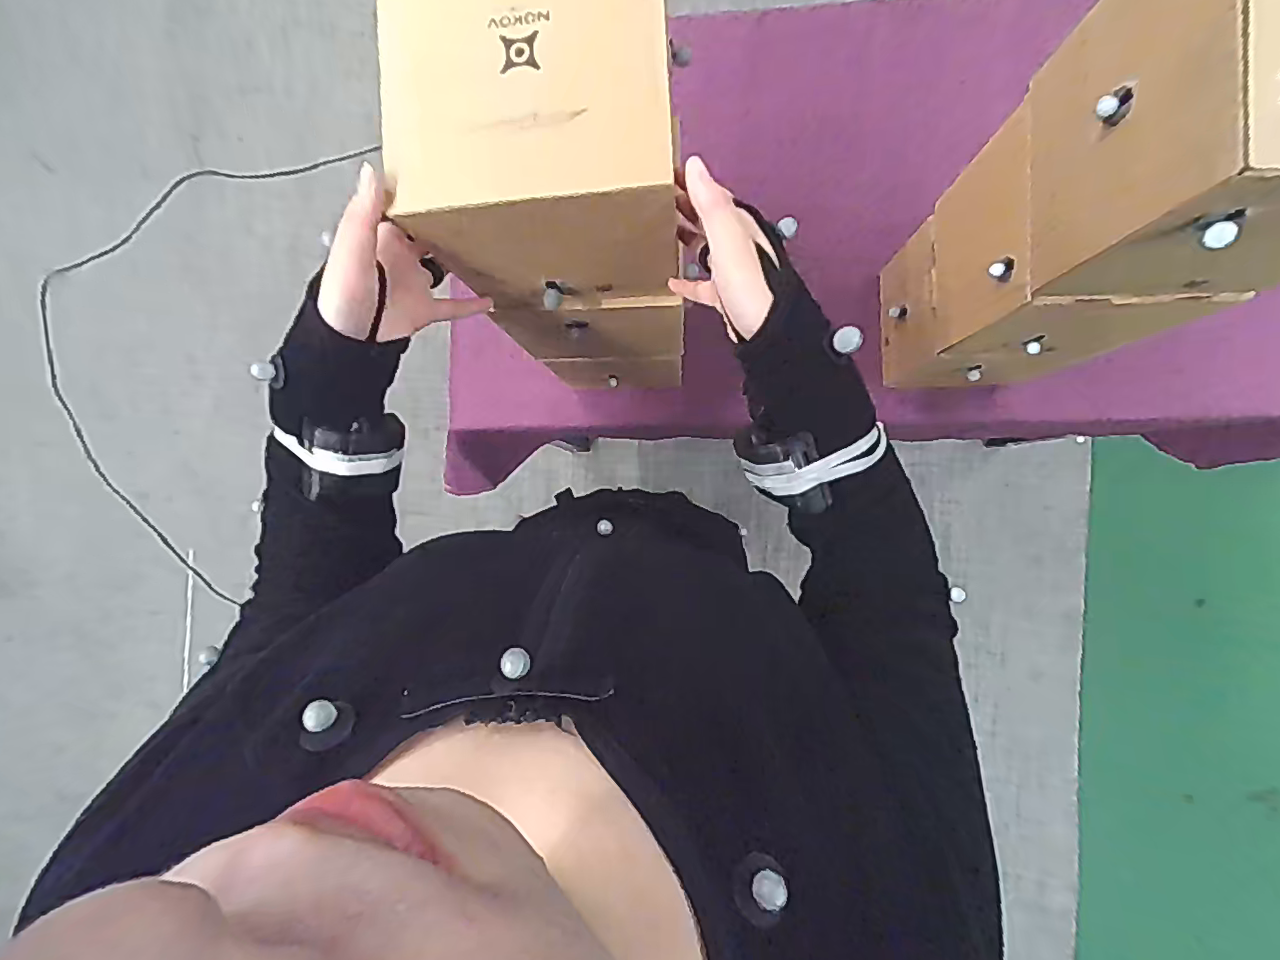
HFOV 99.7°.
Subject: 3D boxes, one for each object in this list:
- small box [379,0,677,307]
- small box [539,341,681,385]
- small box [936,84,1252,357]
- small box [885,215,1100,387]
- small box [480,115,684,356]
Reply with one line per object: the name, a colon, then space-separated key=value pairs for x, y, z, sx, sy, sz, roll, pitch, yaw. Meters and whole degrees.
small box: x=-0.059 y=-0.240 z=0.382 sx=0.168 sy=0.176 sz=0.179 roll=-2 pitch=90 yaw=6
small box: x=-0.030 y=-0.222 z=0.707 sx=0.168 sy=0.176 sz=0.179 roll=0 pitch=88 yaw=4
small box: x=0.398 y=-0.224 z=0.507 sx=0.168 sy=0.176 sz=0.179 roll=1 pitch=89 yaw=5
small box: x=0.416 y=-0.212 z=0.669 sx=0.179 sy=0.176 sz=0.168 roll=-1 pitch=89 yaw=6
small box: x=-0.045 y=-0.226 z=0.543 sx=0.179 sy=0.176 sz=0.168 roll=0 pitch=89 yaw=4
